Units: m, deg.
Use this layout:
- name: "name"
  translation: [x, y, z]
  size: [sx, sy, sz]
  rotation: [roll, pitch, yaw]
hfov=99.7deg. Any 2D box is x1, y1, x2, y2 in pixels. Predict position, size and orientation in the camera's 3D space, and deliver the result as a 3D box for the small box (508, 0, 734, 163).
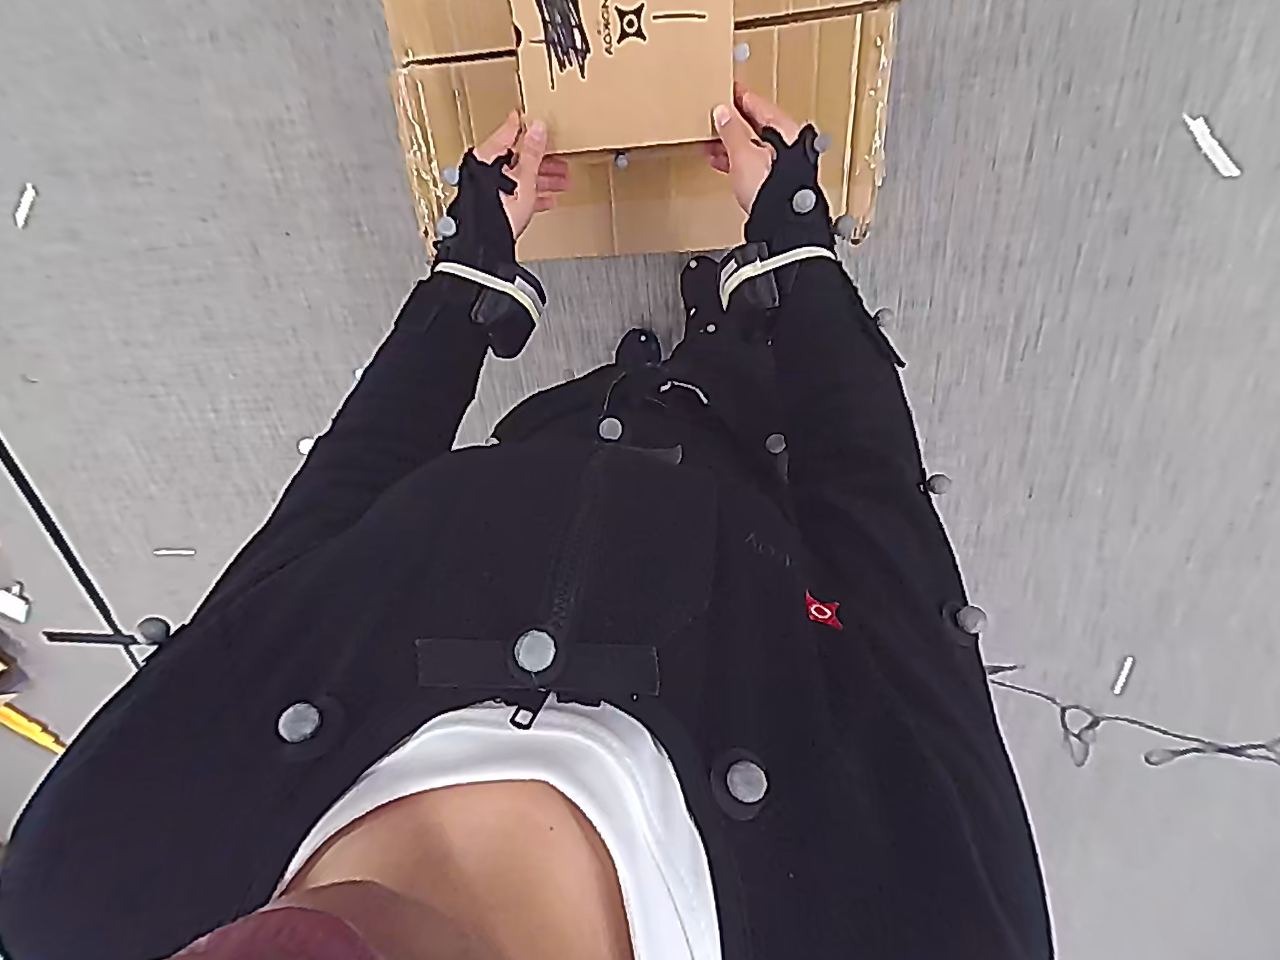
- name: "small box"
  translation: [-0.006, -0.389, 0.484]
  size: [0.179, 0.176, 0.168]
  rotation: [0, 117, 7]
